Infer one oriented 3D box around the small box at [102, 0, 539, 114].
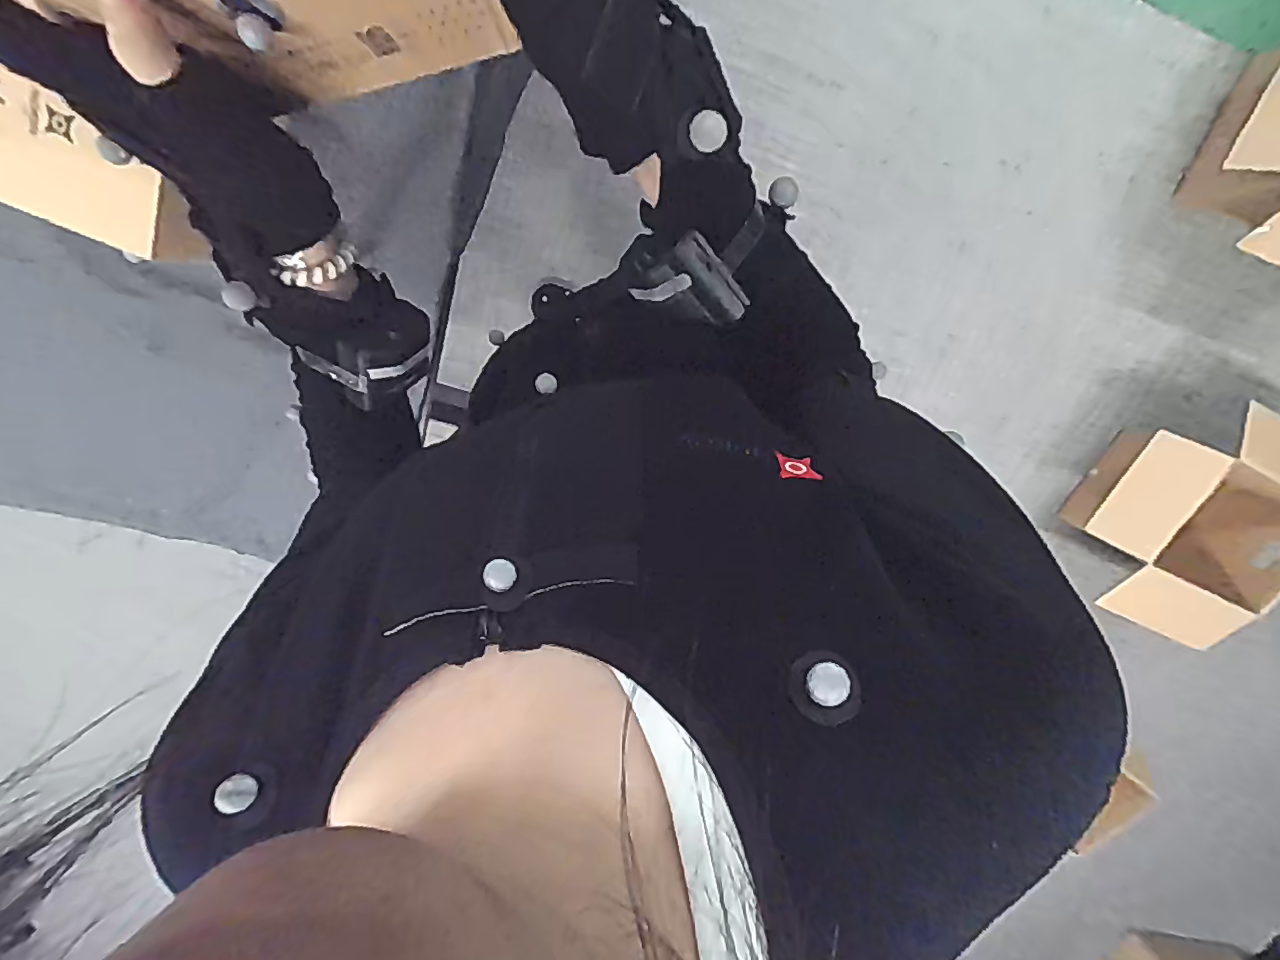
[{"bbox_3d":[-0.146,-0.270,0.182,0.168,0.176,0.179,0,97,17],"label":"small box"}]
